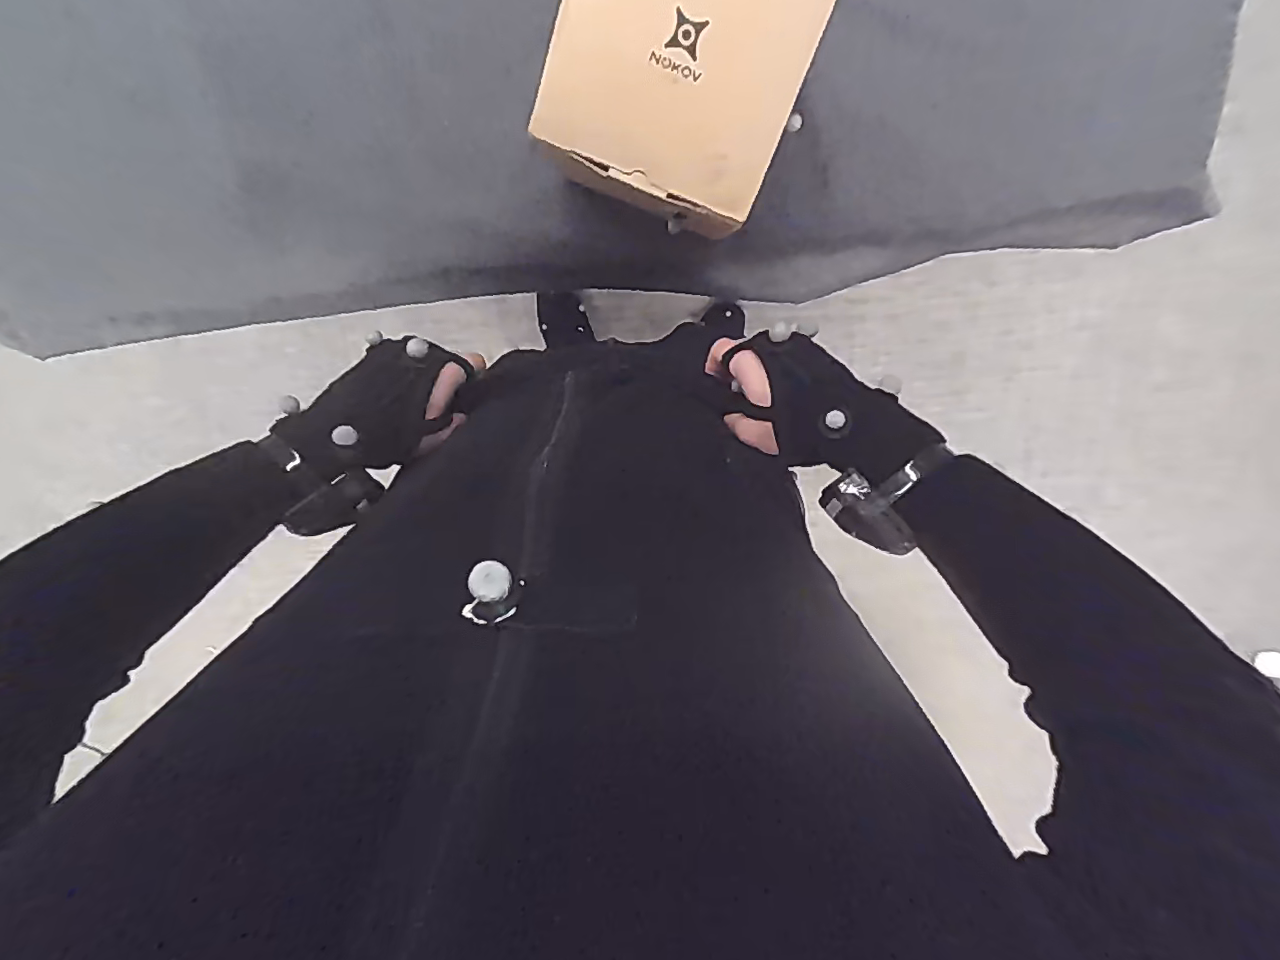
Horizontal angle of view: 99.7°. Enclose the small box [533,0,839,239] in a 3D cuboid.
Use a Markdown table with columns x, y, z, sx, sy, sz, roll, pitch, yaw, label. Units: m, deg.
| x | y | z | sx | sy | sz | roll | pitch | yaw | label |
| --- | --- | --- | --- | --- | --- | --- | --- | --- | --- |
| 0.031 | -0.308 | 0.428 | 0.168 | 0.176 | 0.179 | 19 | 109 | -7 | small box |
